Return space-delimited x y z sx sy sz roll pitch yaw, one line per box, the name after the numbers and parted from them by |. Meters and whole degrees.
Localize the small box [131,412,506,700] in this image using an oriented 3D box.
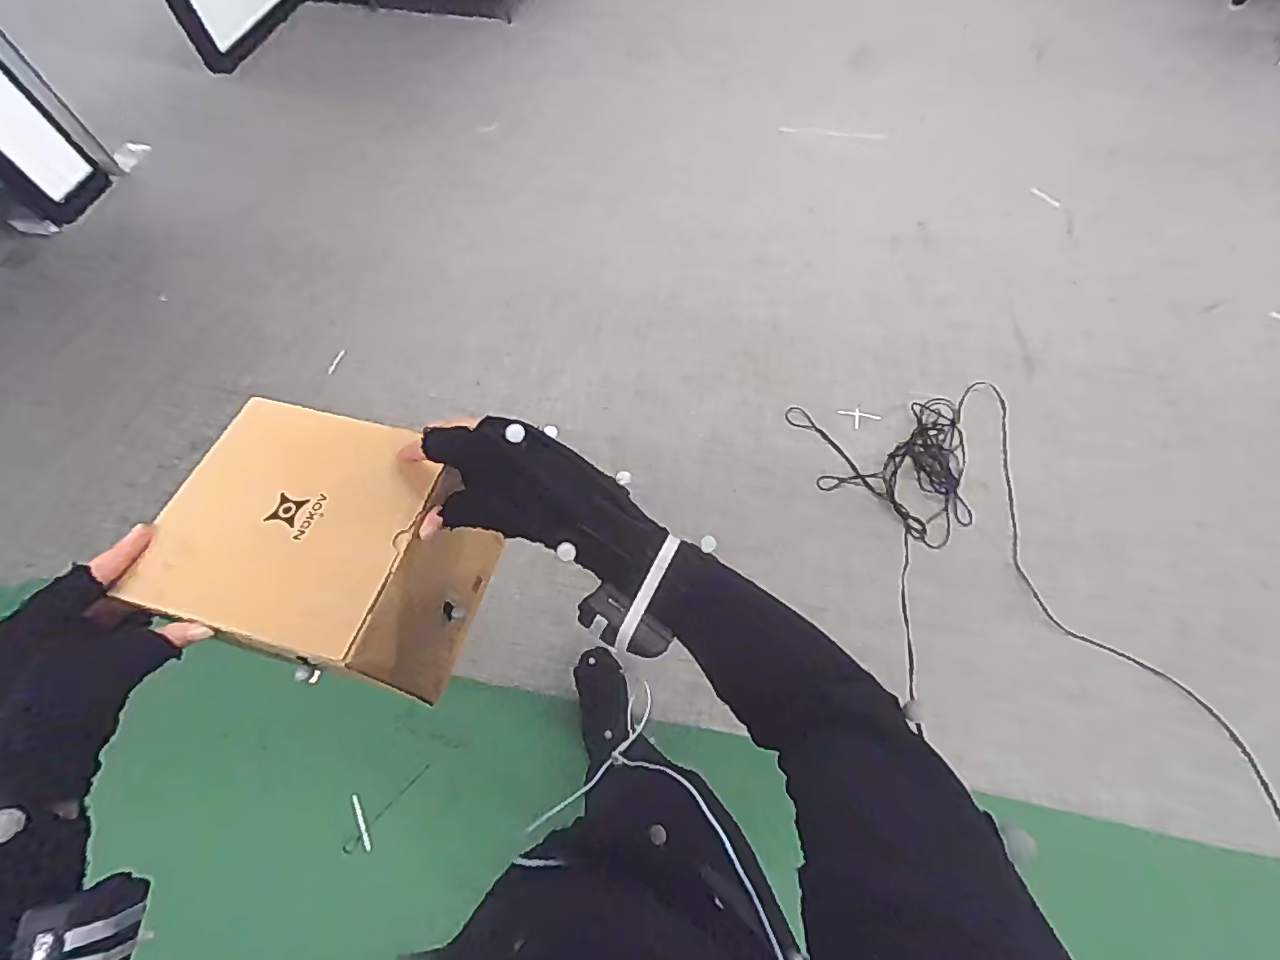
-0.236 0.071 0.455 0.179 0.176 0.168 13 59 7 | small box
